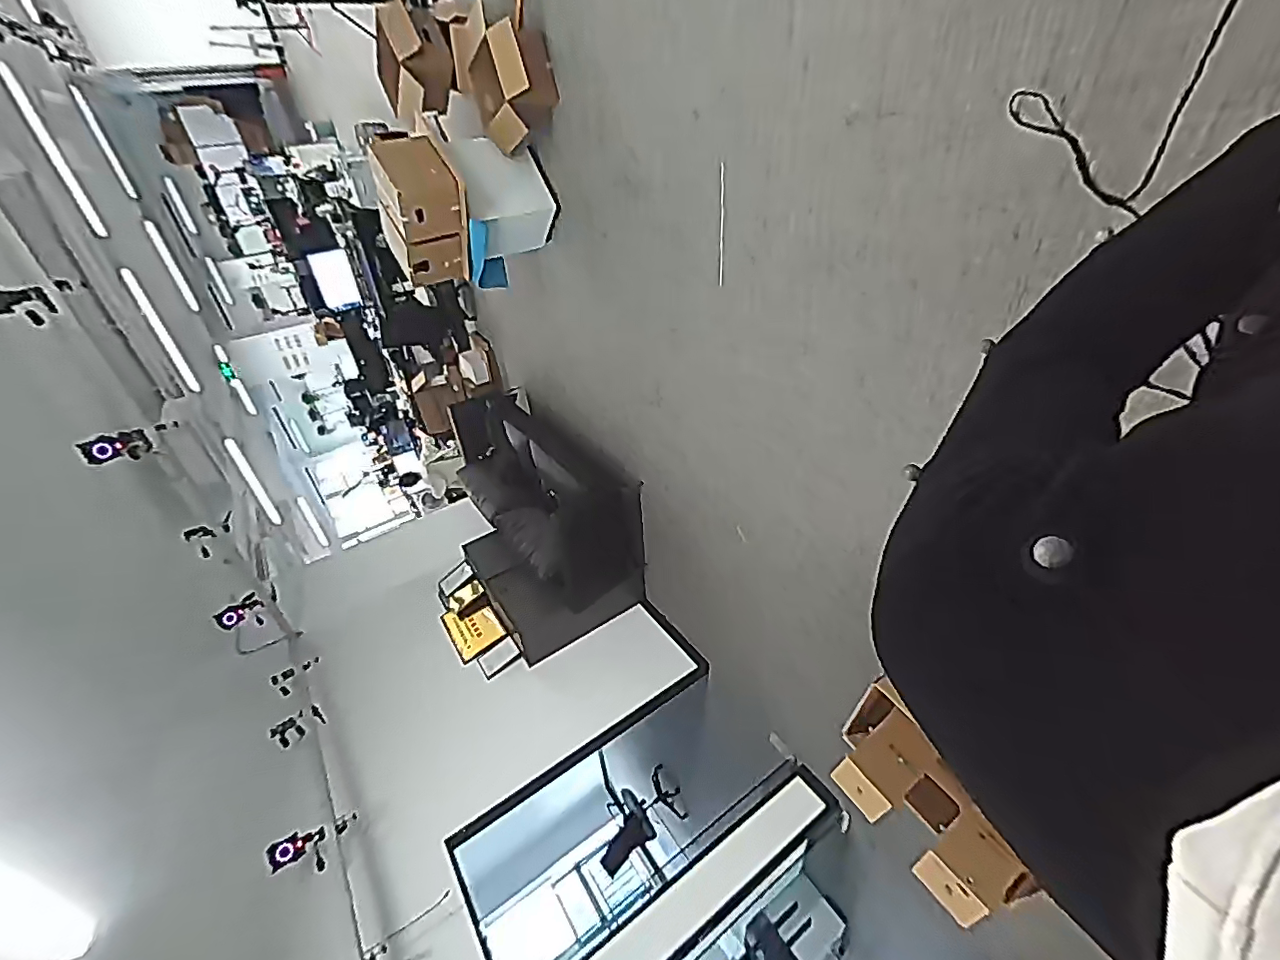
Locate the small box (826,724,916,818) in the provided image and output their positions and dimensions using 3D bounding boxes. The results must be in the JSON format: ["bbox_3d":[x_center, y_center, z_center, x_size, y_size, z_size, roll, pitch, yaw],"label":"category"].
[{"bbox_3d":[0.711,0.894,1.665,0.168,0.176,0.179,45,148,33],"label":"small box"}]

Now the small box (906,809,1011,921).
[{"bbox_3d":[0.880,1.059,1.495,0.168,0.176,0.179,41,145,38],"label":"small box"}]

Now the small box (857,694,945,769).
[{"bbox_3d":[0.840,0.829,1.740,0.168,0.176,0.179,46,148,33],"label":"small box"}]
